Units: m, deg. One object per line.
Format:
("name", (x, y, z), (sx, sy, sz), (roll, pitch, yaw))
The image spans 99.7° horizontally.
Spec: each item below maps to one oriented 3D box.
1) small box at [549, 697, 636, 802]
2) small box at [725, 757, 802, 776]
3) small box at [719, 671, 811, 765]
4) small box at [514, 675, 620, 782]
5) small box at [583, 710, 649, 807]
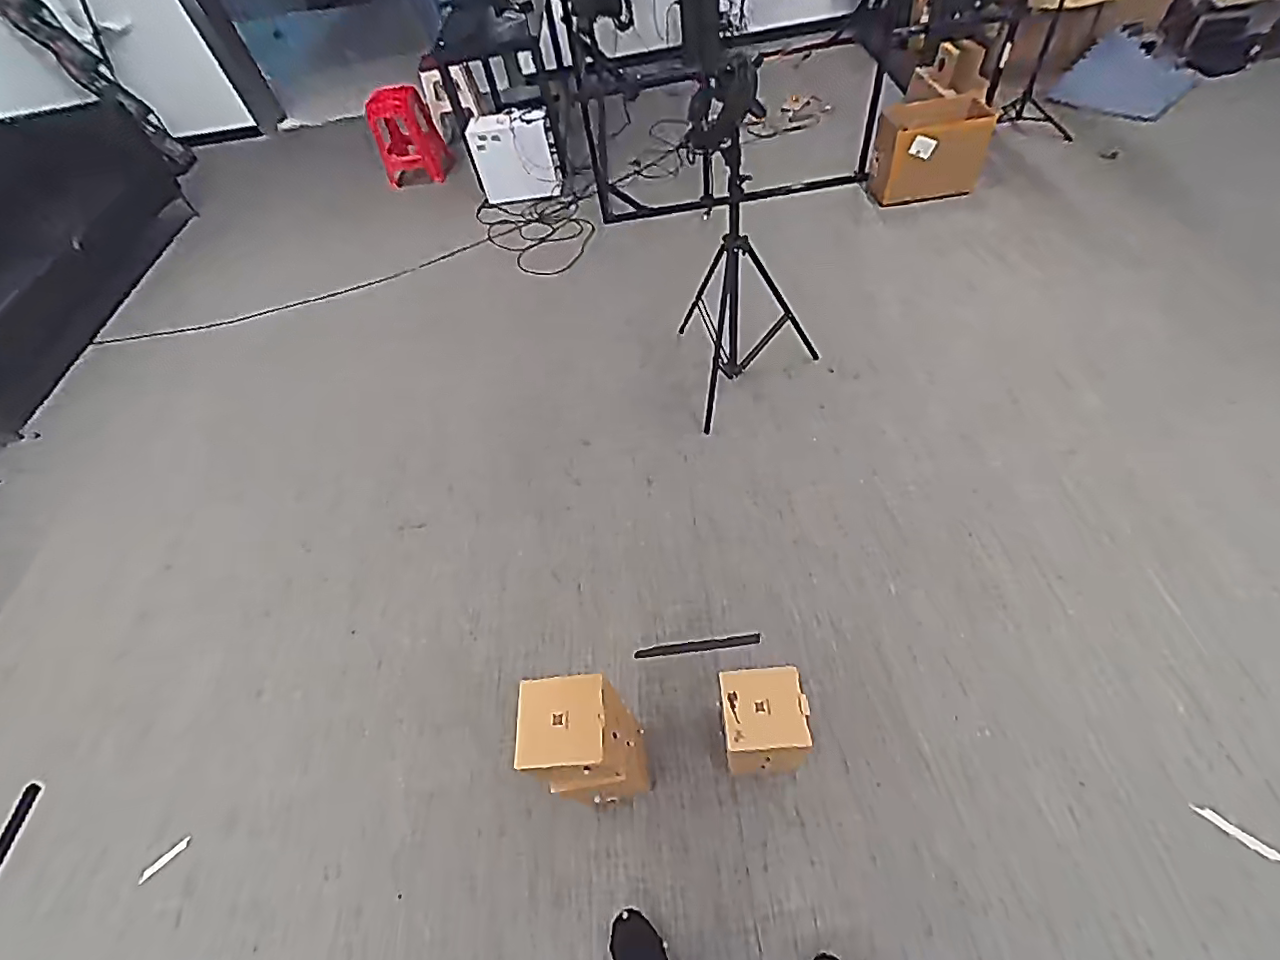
("small box", (-0.109, 0.619, 1.238), (0.168, 0.176, 0.179), (-11, 54, 2))
("small box", (0.296, 0.640, 1.360), (0.179, 0.176, 0.168), (-6, 54, 4))
("small box", (0.275, 0.543, 1.228), (0.179, 0.176, 0.168), (-5, 53, 4))
("small box", (-0.143, 0.517, 1.116), (0.179, 0.176, 0.168), (-7, 53, 5))
("small box", (-0.079, 0.709, 1.372), (0.168, 0.176, 0.179), (-13, 53, 1))
